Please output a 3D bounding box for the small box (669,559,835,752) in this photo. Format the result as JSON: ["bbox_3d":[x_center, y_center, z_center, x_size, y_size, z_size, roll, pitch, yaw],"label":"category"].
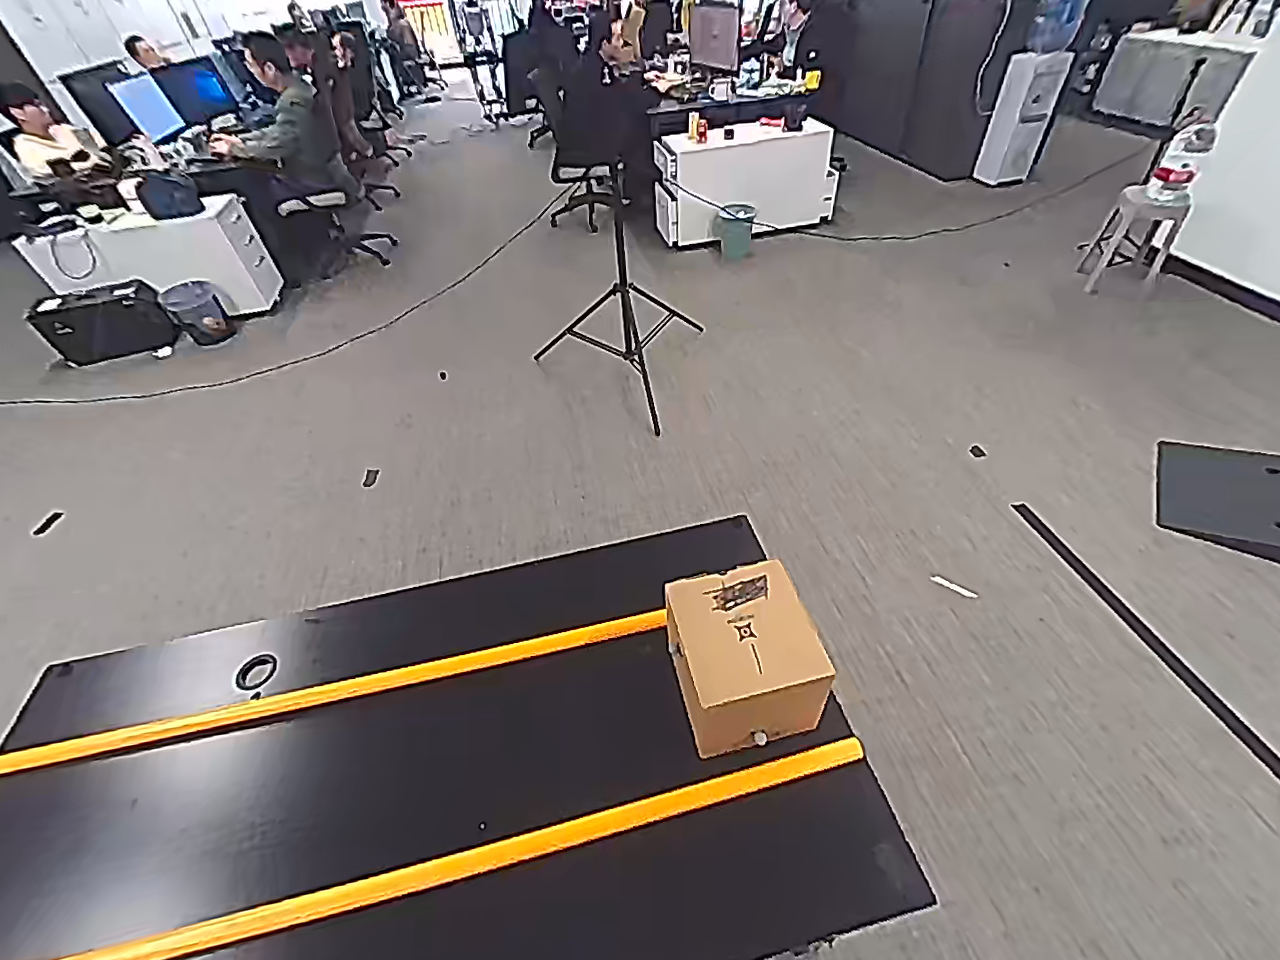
[{"bbox_3d":[0.139,0.239,0.740,0.168,0.176,0.179,-12,45,-5],"label":"small box"}]
